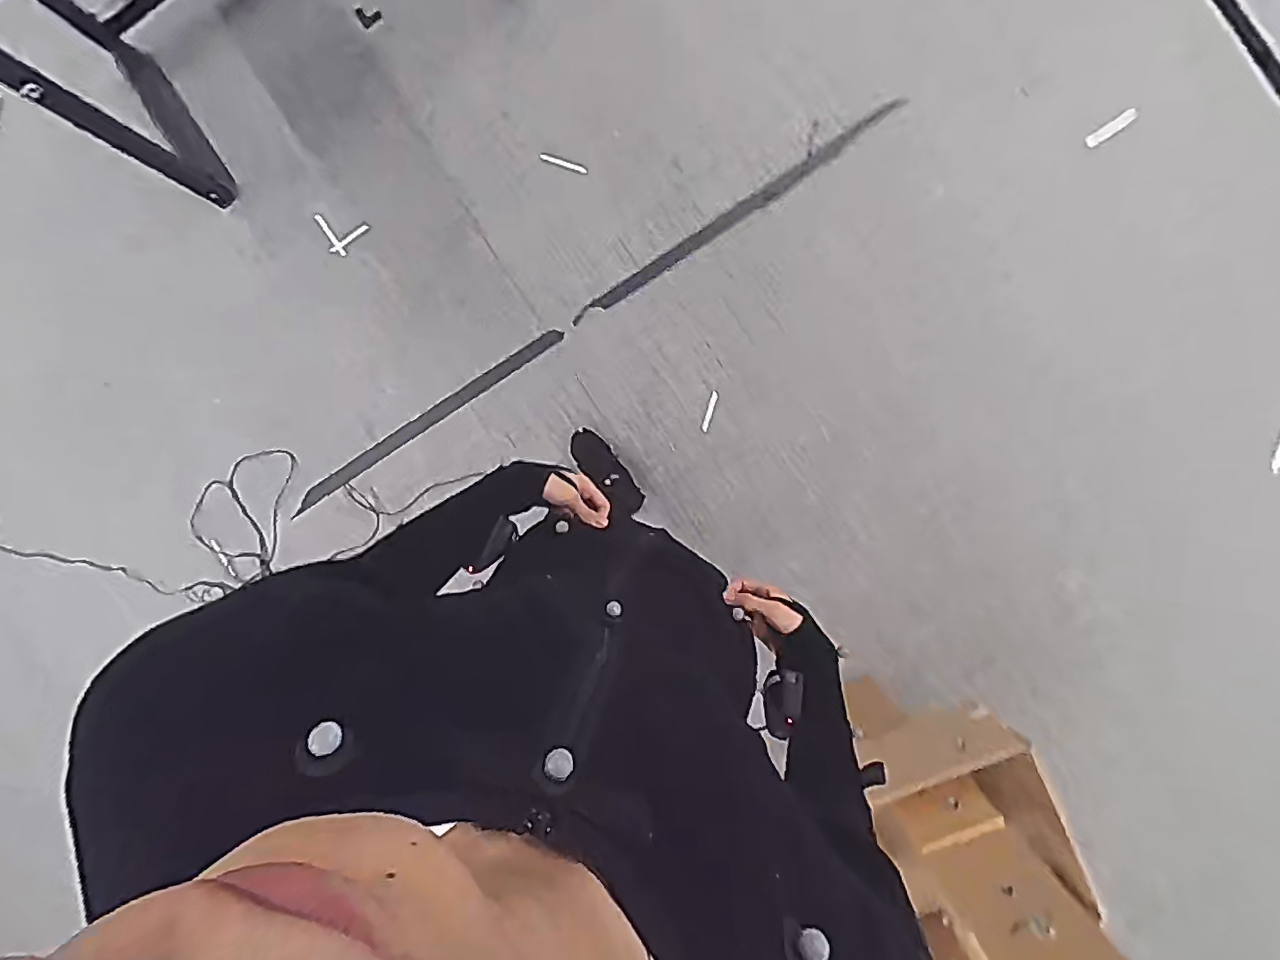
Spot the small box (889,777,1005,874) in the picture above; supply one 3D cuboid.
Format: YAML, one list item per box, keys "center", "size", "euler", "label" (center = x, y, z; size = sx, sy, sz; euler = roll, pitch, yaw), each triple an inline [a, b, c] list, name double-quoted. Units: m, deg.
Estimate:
- center: [0.648, 0.748, 1.114]
  size: [0.168, 0.176, 0.179]
  euler: [-25, 92, 5]
  label: "small box"

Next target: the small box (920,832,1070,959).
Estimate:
- center: [0.636, 0.767, 0.951]
  size: [0.179, 0.176, 0.168]
  euler: [-24, 91, 5]
  label: "small box"

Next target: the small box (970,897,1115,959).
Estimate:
- center: [0.630, 0.773, 0.787]
  size: [0.168, 0.176, 0.179]
  euler: [-26, 92, 4]
  label: "small box"
